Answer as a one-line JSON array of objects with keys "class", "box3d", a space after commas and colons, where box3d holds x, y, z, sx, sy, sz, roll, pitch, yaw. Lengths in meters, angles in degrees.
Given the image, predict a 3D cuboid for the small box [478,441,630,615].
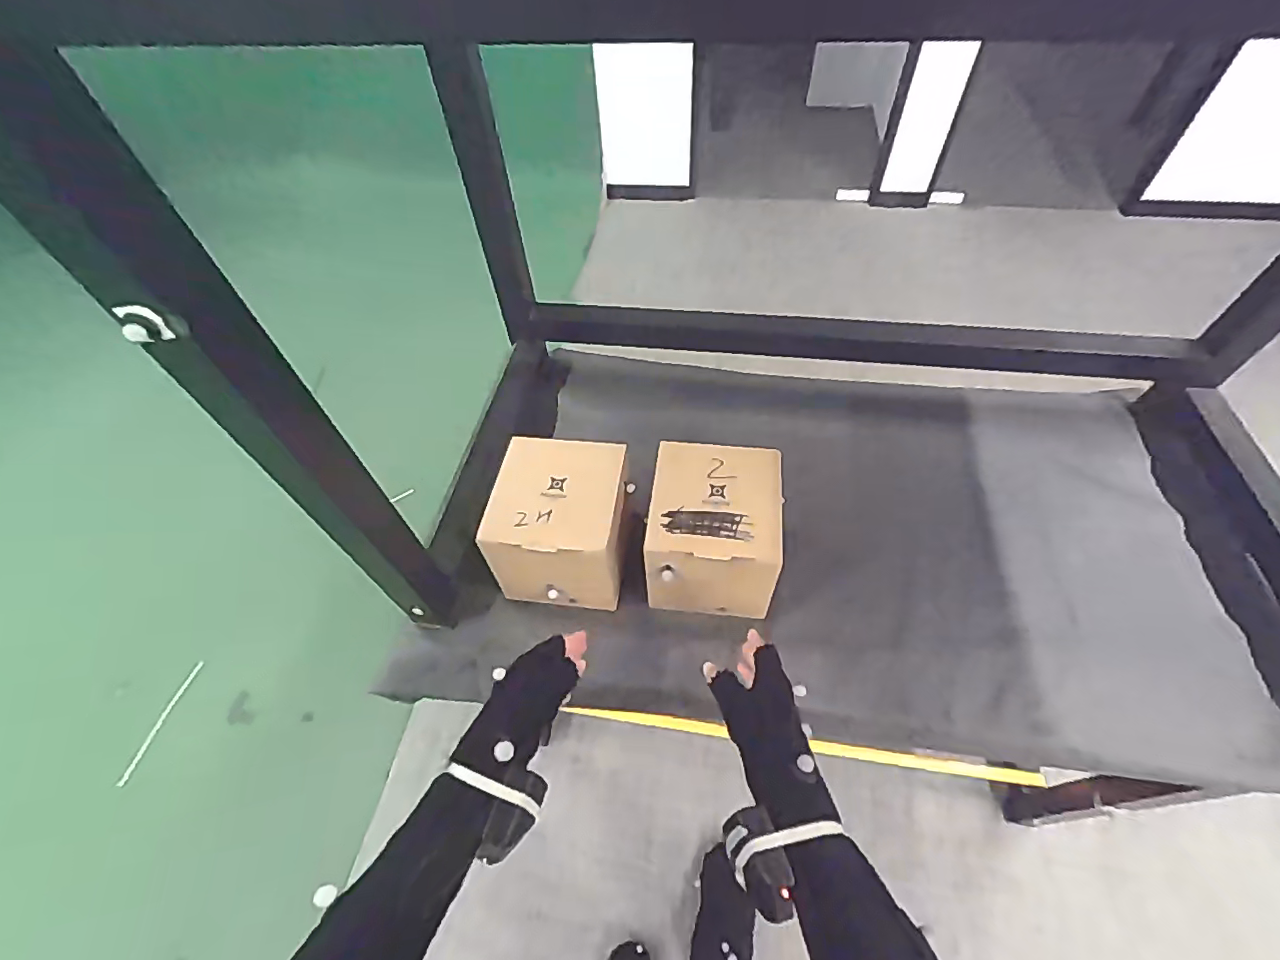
[{"class": "small box", "box3d": [-0.107, 0.069, 0.769, 0.168, 0.176, 0.179, 4, 53, 6]}]
